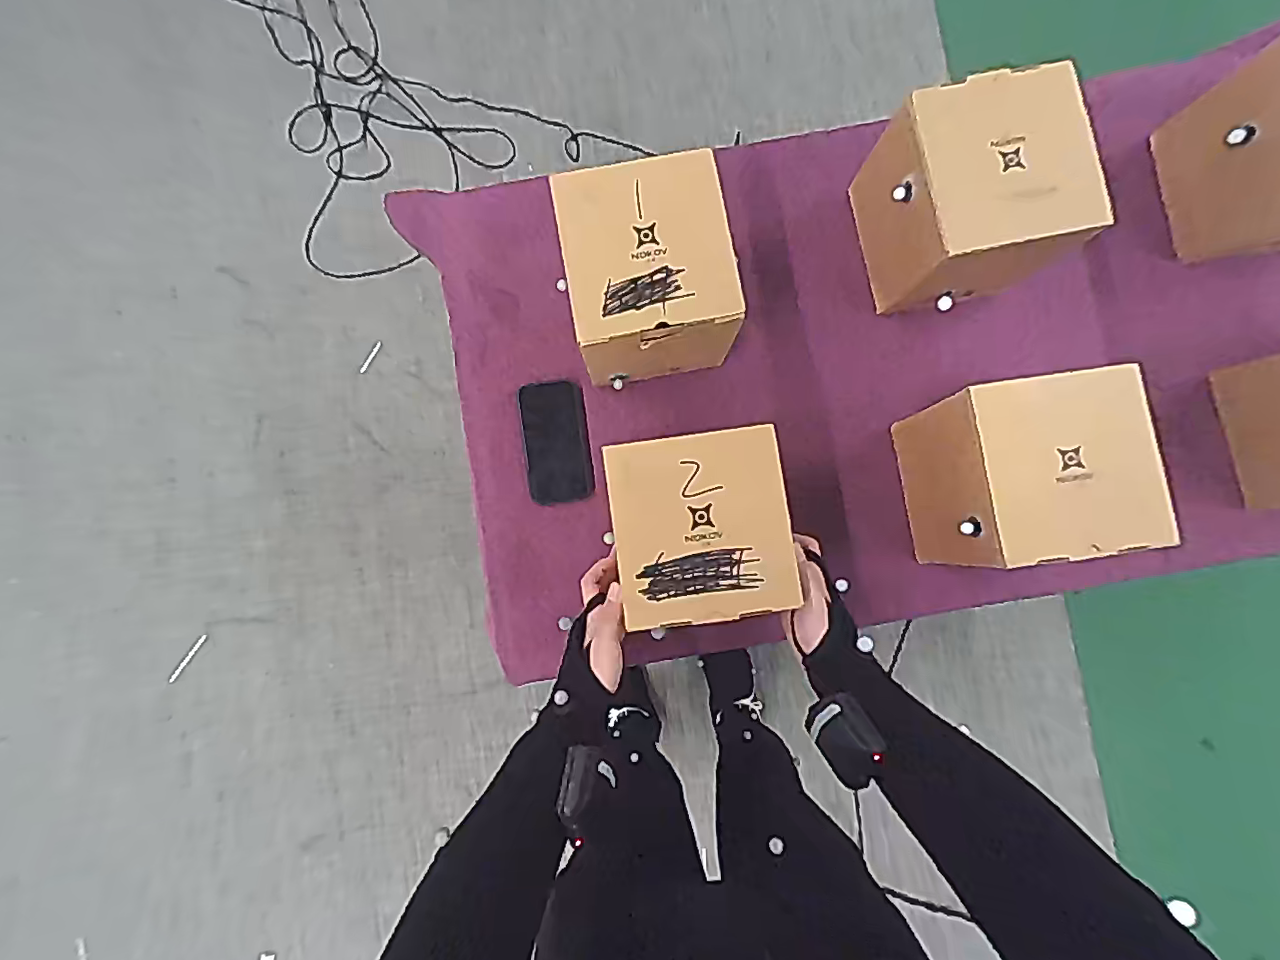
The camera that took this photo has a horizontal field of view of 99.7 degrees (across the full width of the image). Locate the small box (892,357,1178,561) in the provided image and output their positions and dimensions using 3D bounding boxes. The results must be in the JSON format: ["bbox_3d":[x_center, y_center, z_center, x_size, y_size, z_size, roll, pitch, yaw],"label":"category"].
[{"bbox_3d":[0.394,-0.012,0.576,0.168,0.176,0.179,-8,84,0],"label":"small box"}]

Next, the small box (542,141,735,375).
[{"bbox_3d":[-0.001,-0.226,0.598,0.168,0.176,0.179,-10,85,-1],"label":"small box"}]

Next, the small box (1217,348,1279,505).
[{"bbox_3d":[0.786,-0.075,0.573,0.168,0.176,0.179,-11,85,1],"label":"small box"}]

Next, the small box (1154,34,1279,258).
[{"bbox_3d":[0.737,-0.379,0.604,0.168,0.176,0.179,-8,85,1],"label":"small box"}]

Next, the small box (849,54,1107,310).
[{"bbox_3d":[0.354,-0.315,0.604,0.168,0.176,0.179,-10,86,0],"label":"small box"}]
